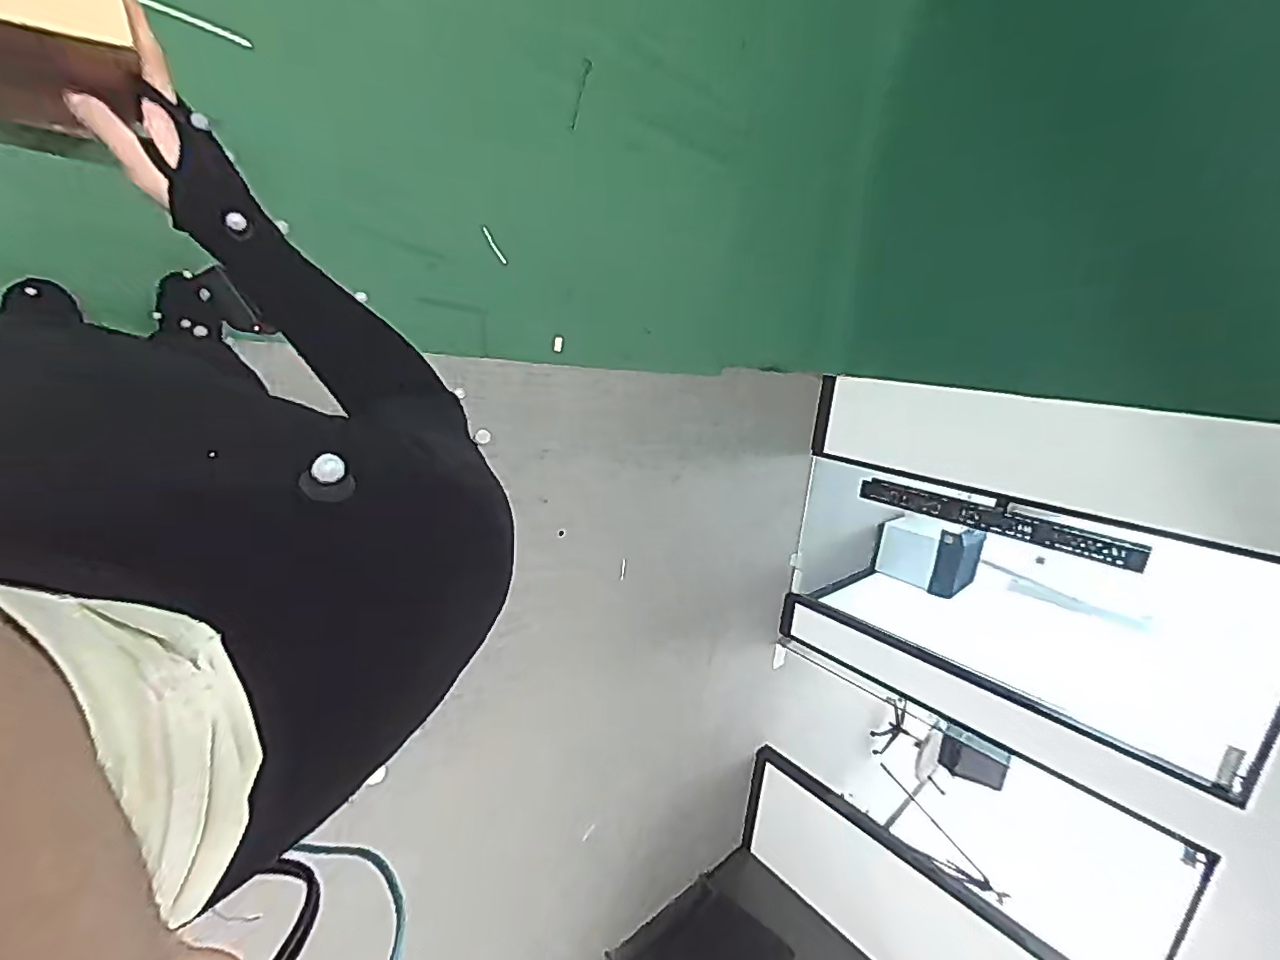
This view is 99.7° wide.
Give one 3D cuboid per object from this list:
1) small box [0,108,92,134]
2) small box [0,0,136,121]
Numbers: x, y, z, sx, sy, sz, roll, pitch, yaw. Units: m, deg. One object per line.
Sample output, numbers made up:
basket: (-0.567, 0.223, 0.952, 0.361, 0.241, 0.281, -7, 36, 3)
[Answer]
small box: (-1.089, -0.732, 0.944, 0.179, 0.176, 0.168, -6, 108, -42)
small box: (-0.494, -0.386, 0.382, 0.179, 0.176, 0.168, -16, 106, -40)
